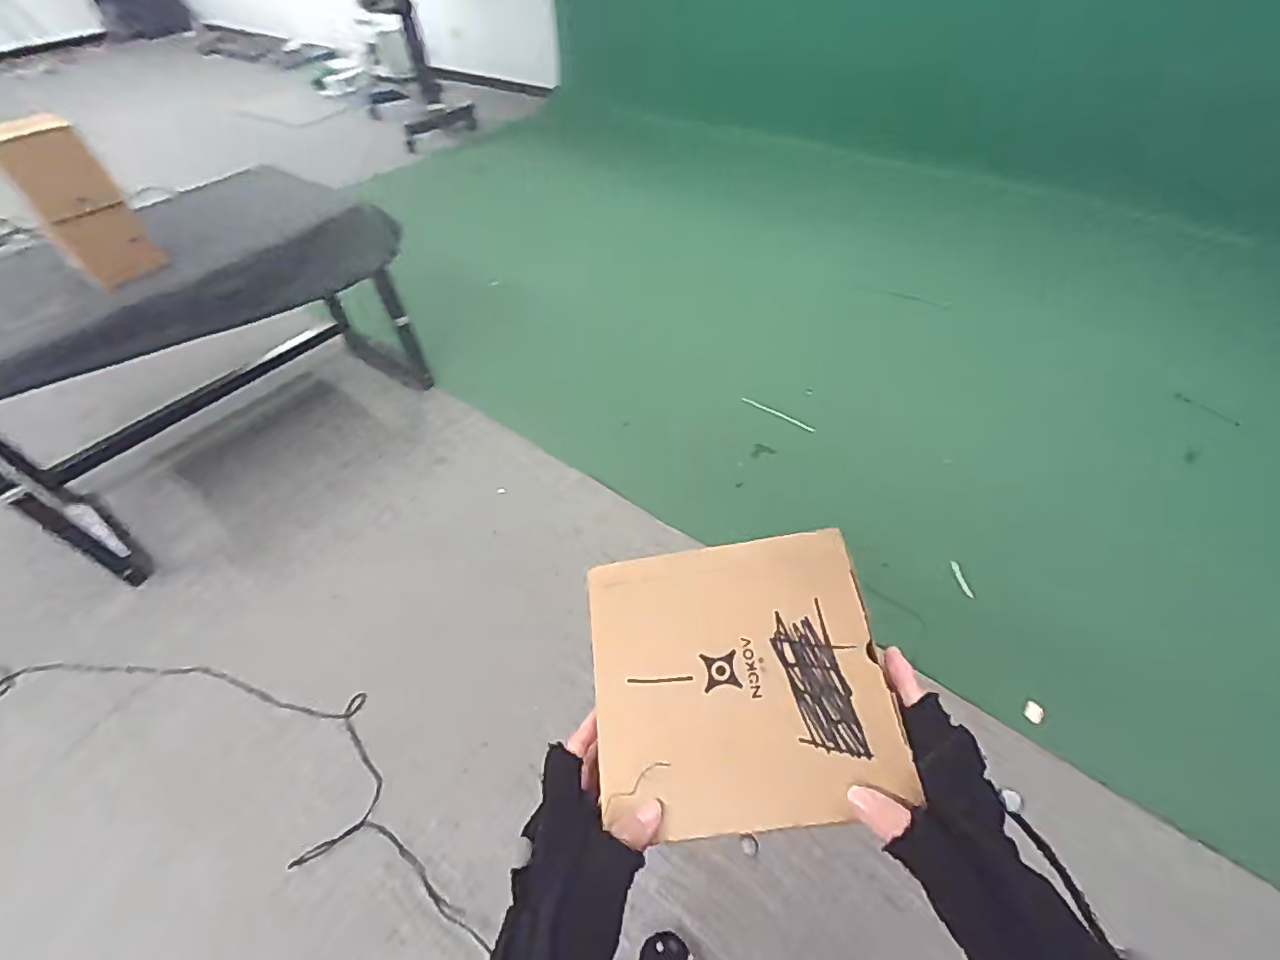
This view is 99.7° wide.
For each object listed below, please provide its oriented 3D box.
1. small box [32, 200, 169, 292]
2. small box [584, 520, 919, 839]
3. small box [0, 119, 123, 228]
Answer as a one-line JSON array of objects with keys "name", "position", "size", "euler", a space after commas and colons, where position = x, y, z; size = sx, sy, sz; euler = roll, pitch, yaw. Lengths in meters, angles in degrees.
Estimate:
[{"name": "small box", "position": [-1.385, -0.619, 1.405], "size": [0.168, 0.176, 0.179], "euler": [27, 57, 26]}, {"name": "small box", "position": [0.066, 0.151, 0.406], "size": [0.179, 0.176, 0.168], "euler": [-12, 60, 0]}, {"name": "small box", "position": [-1.390, -0.726, 1.280], "size": [0.168, 0.176, 0.179], "euler": [29, 56, 26]}]
